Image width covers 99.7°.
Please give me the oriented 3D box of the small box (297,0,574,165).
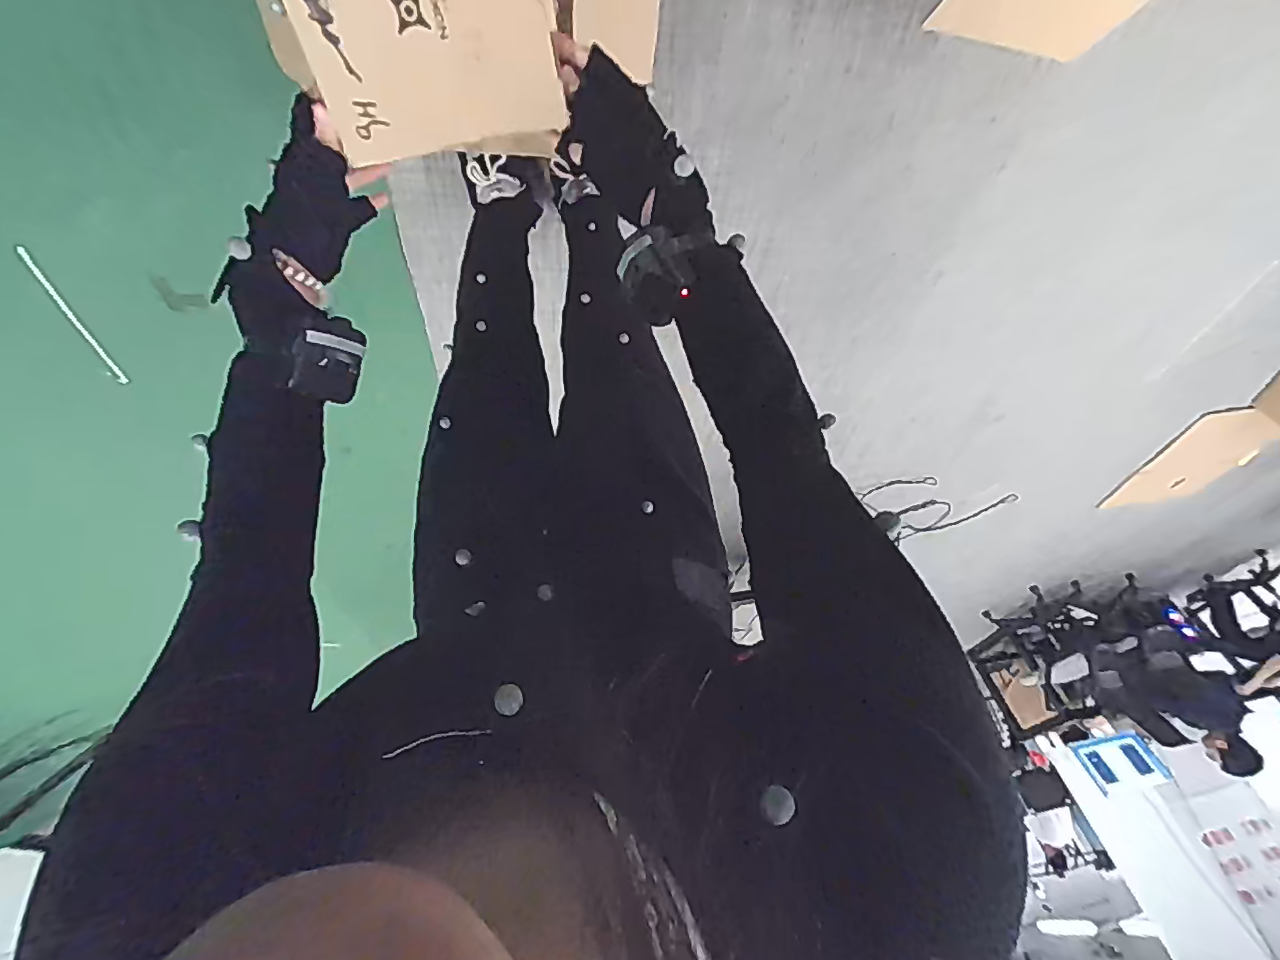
[{"bbox_3d":[-0.167,-0.381,0.450,0.179,0.176,0.168,-15,128,-4],"label":"small box"}]
